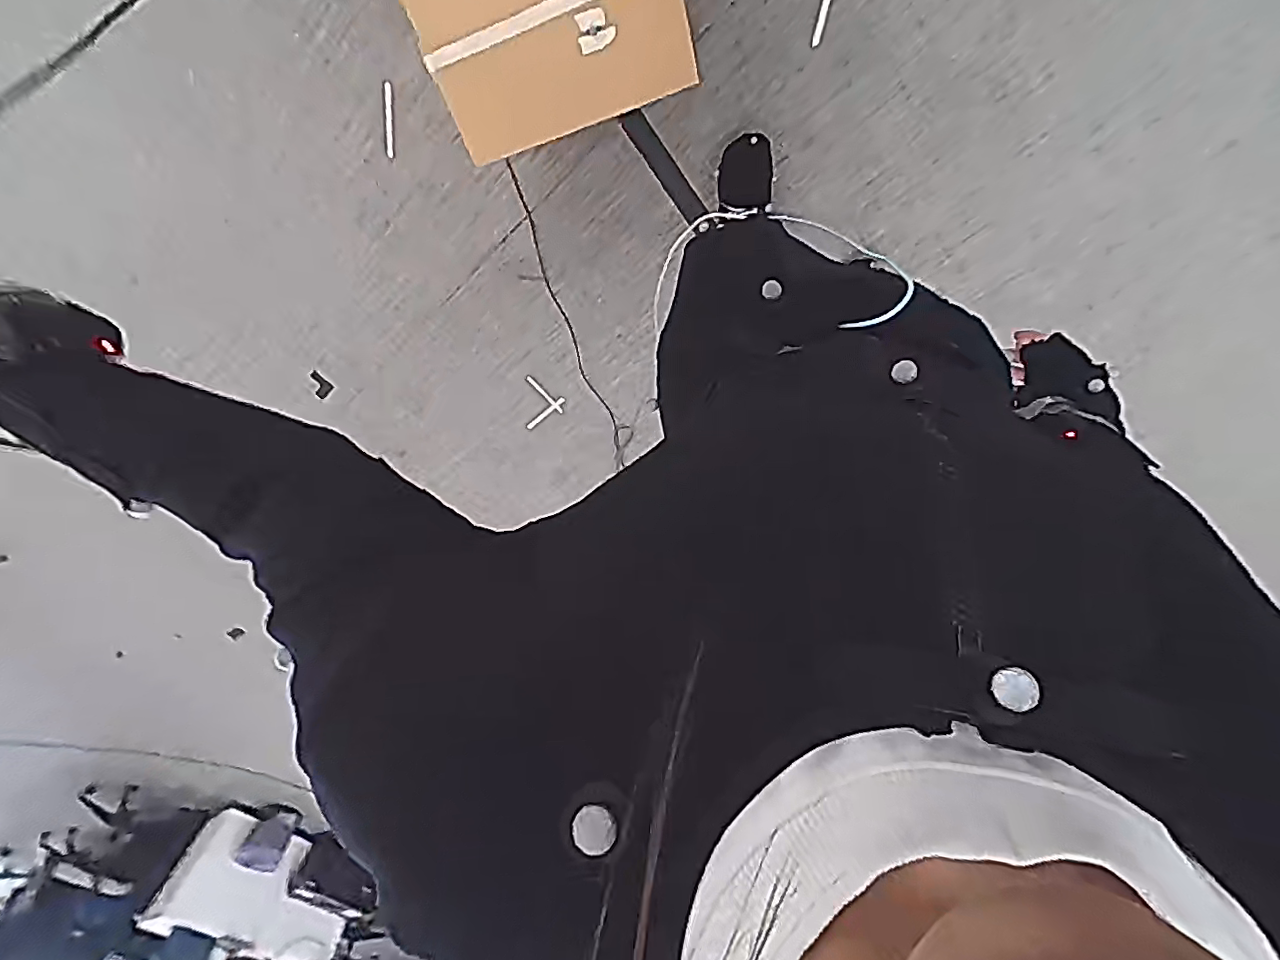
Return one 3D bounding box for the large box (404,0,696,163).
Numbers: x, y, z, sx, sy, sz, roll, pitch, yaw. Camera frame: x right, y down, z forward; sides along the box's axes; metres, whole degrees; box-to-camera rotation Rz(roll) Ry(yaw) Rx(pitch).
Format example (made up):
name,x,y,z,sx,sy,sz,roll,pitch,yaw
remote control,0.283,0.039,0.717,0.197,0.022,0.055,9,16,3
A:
name,x,y,z,sx,sy,sz,roll,pitch,yaw
large box,-0.136,-0.797,0.923,0.408,0.320,0.320,-12,127,13
